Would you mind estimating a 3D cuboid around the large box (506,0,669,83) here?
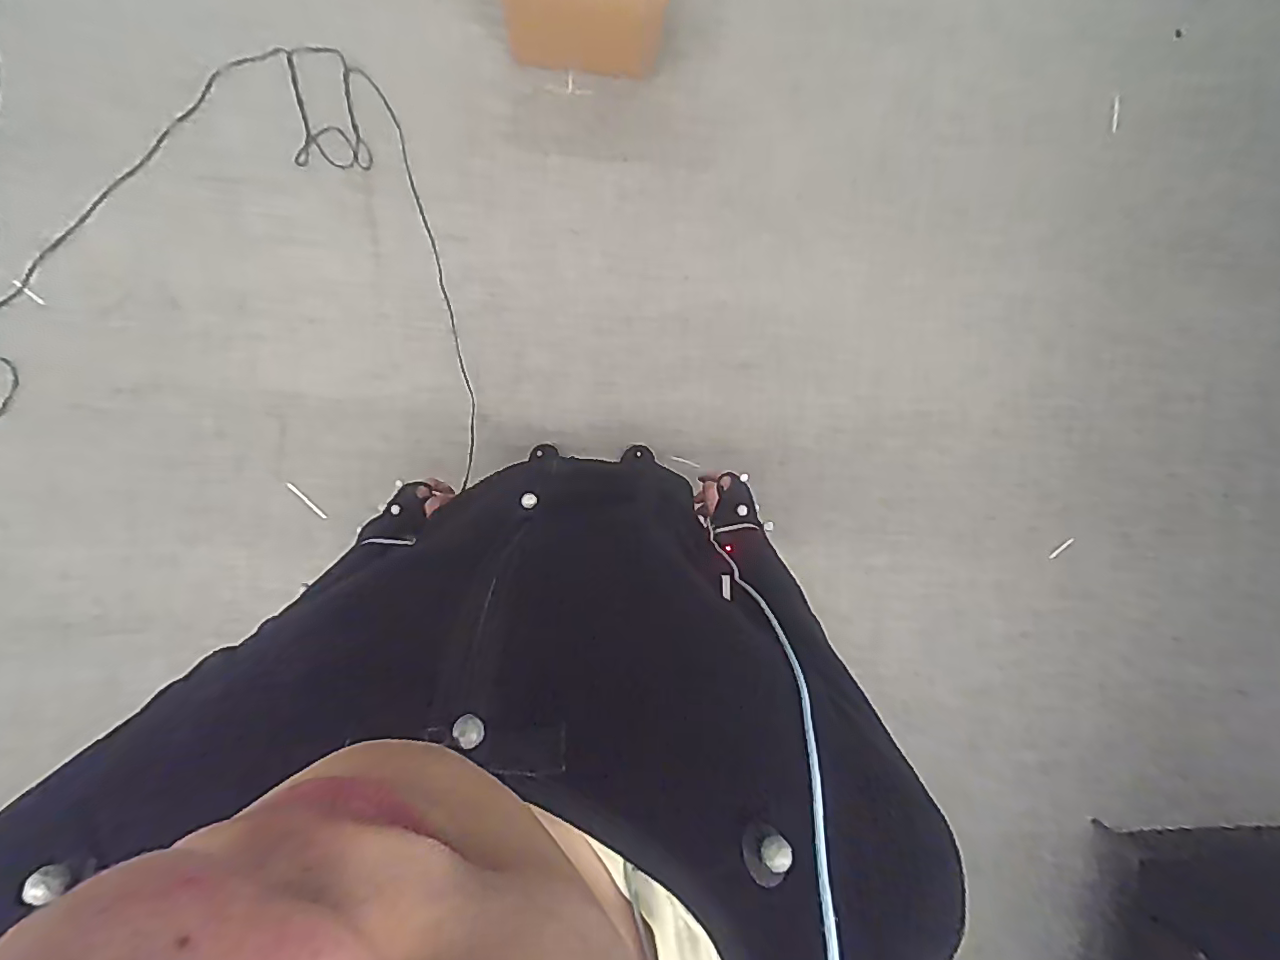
[{"bbox_3d":[-0.144,-1.316,1.428,0.408,0.320,0.320,0,93,-7],"label":"large box"}]
